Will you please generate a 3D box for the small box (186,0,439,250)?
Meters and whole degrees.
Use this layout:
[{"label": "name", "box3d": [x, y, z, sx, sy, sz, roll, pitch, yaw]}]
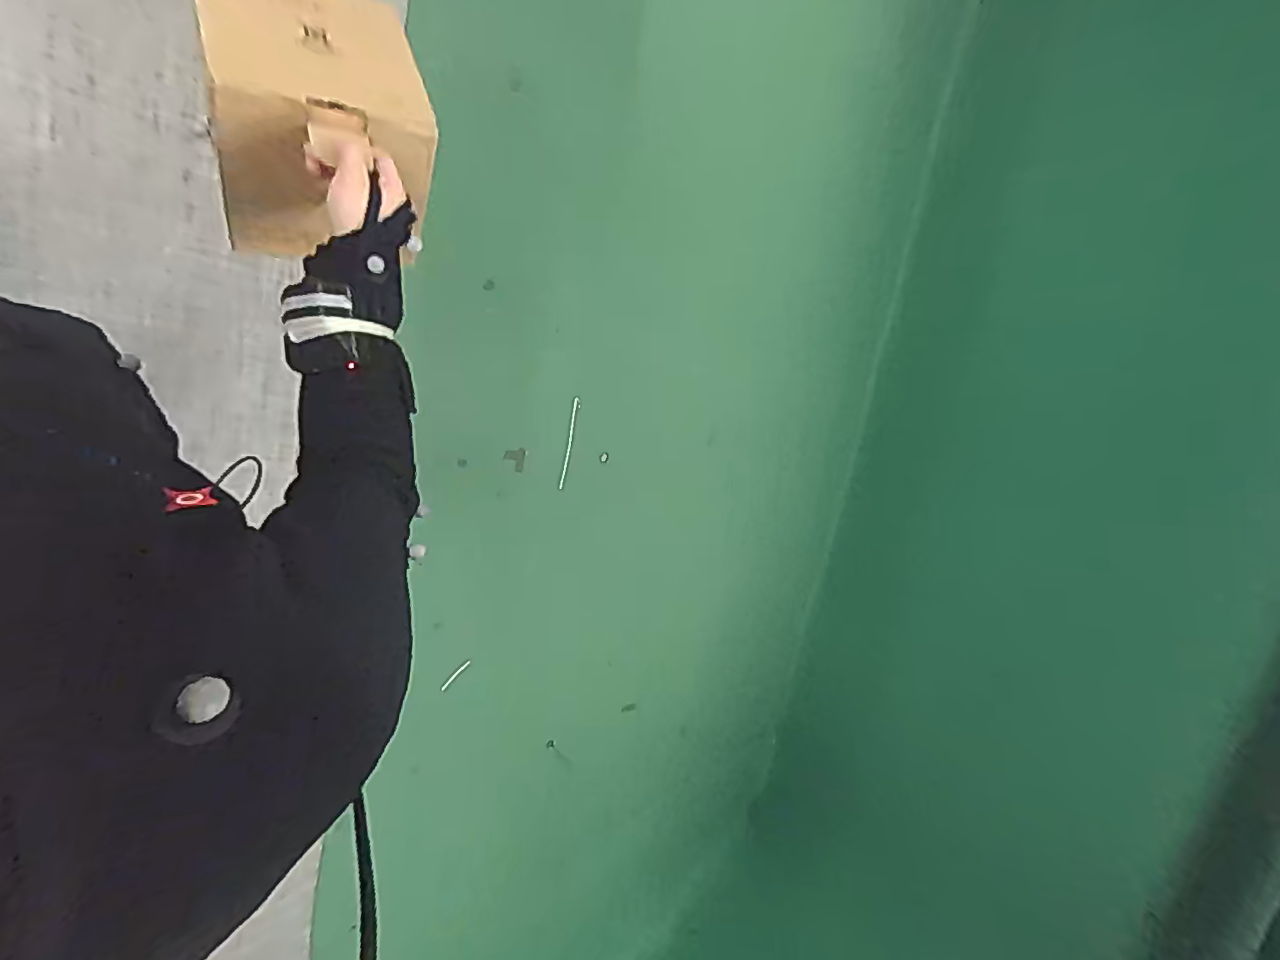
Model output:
[{"label": "small box", "box3d": [-0.306, -0.345, 0.507, 0.168, 0.176, 0.179, -11, 70, -36]}]
